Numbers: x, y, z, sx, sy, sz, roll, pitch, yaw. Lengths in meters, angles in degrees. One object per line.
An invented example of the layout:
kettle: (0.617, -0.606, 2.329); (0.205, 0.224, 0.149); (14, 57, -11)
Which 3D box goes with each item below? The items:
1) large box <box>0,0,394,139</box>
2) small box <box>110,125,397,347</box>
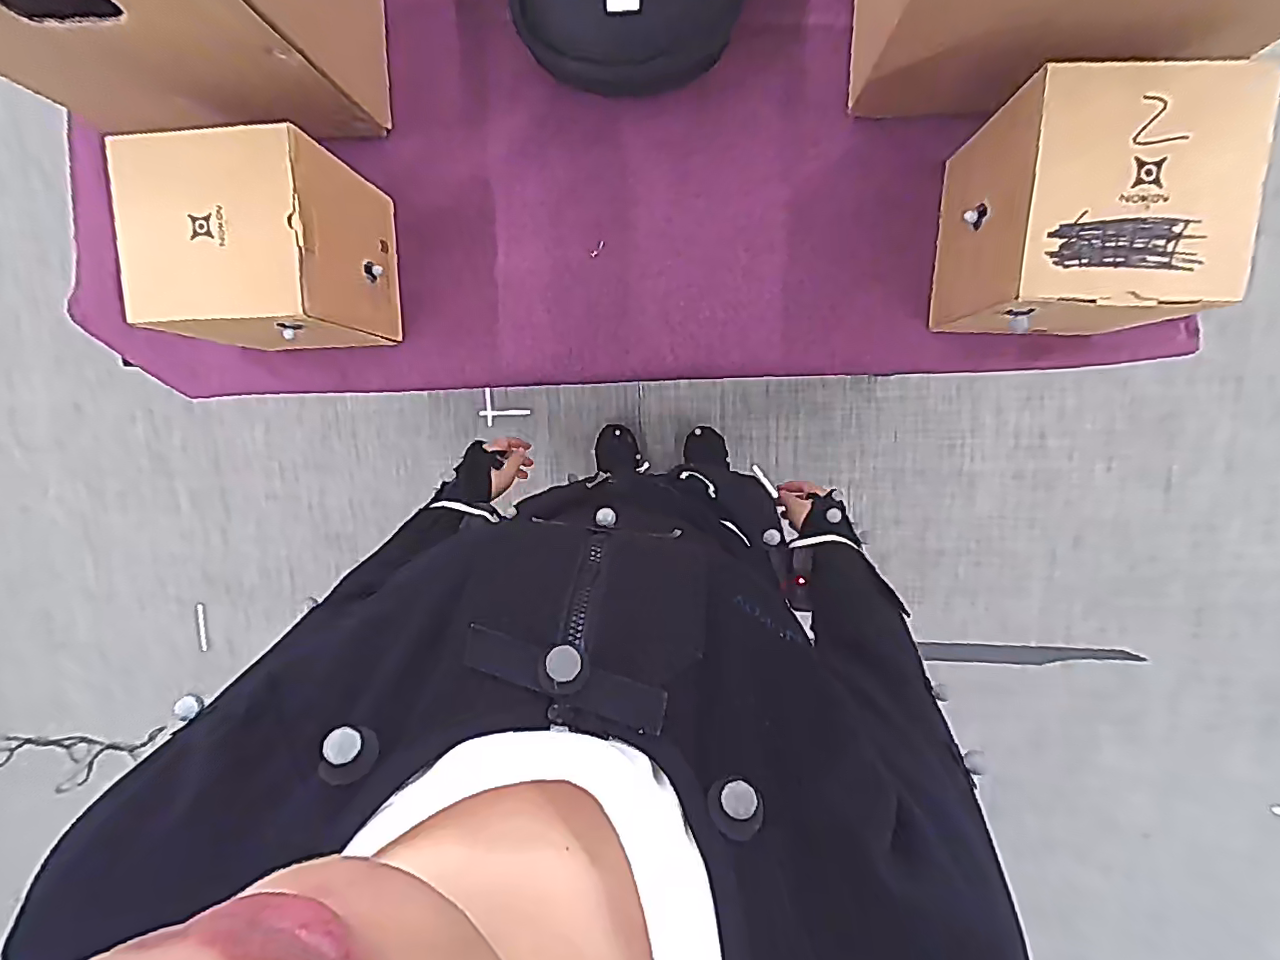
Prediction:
large box: (-0.444, -0.570, 0.459); (0.320, 0.320, 0.408); (0, 100, 4)
small box: (-0.385, -0.236, 0.568); (0.179, 0.176, 0.168); (-2, 96, 4)
